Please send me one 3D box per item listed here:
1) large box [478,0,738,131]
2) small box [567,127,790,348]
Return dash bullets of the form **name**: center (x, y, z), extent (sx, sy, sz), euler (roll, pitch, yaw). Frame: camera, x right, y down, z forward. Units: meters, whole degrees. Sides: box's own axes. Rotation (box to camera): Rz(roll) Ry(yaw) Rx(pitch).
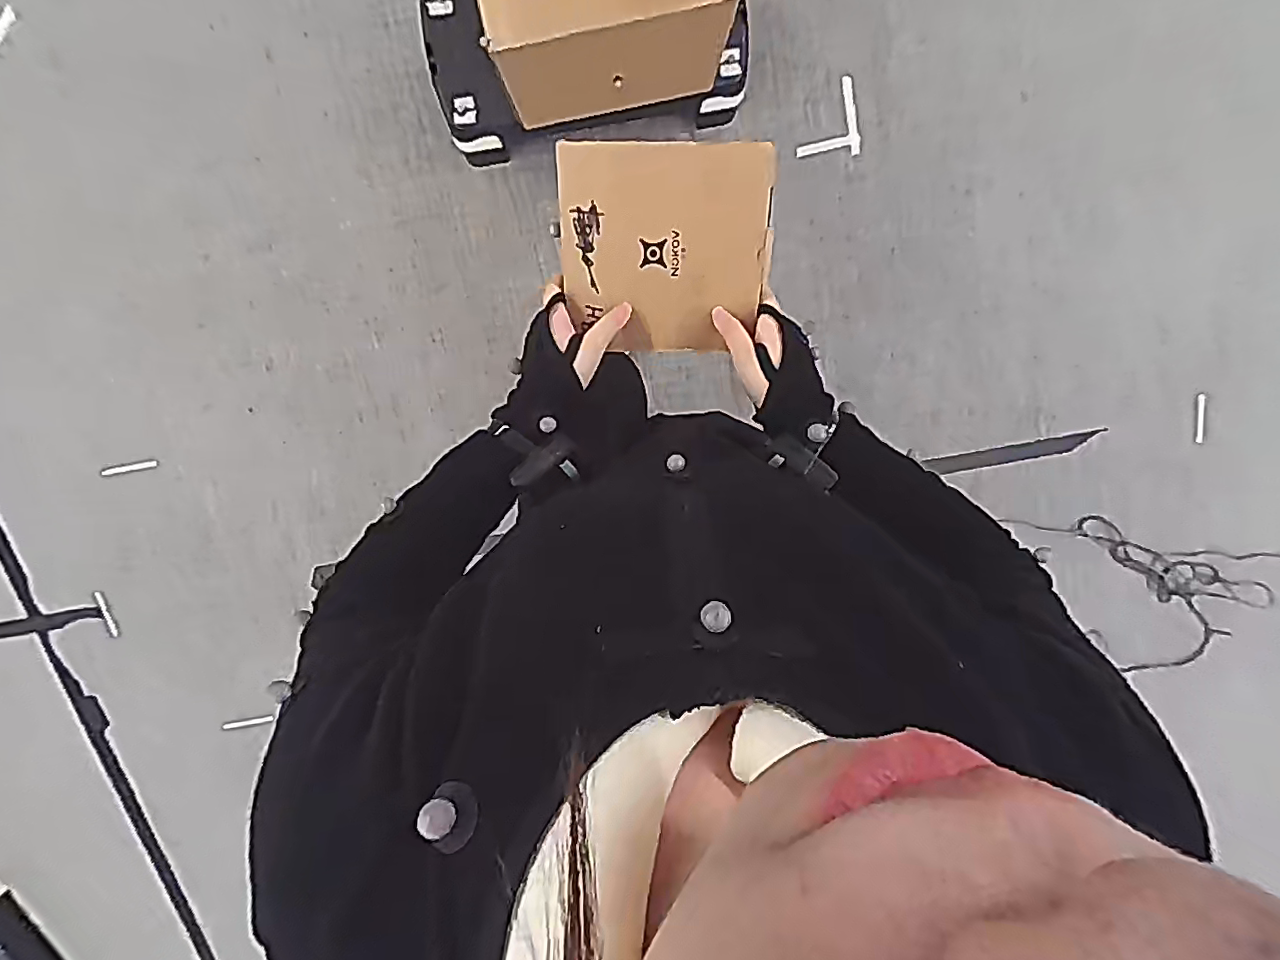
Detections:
- **large box**: center (-0.071, -0.880, 0.952), extent (0.408, 0.320, 0.320), euler (-12, 102, 2)
- **small box**: center (0.028, -0.228, 0.520), extent (0.179, 0.176, 0.168), euler (2, 115, 0)
